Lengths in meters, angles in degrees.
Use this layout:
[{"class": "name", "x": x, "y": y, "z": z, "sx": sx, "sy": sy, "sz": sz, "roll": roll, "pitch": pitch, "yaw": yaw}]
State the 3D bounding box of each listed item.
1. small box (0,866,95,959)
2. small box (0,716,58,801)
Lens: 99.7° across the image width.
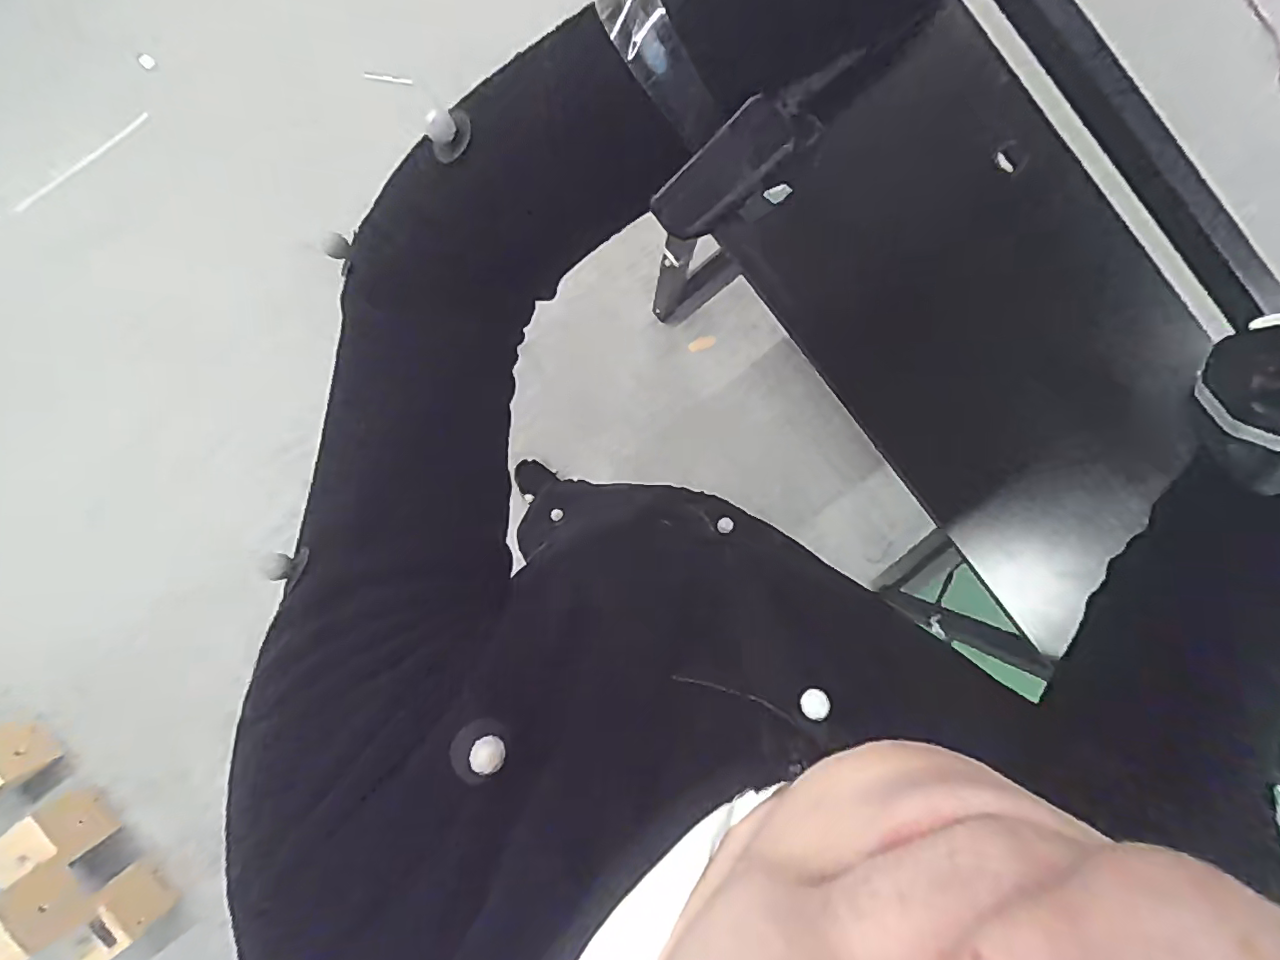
[{"class": "small box", "x": -1.516, "y": 1.092, "z": 1.315, "sx": 0.168, "sy": 0.176, "sz": 0.179, "roll": -36, "pitch": 92, "yaw": -2}, {"class": "small box", "x": -1.766, "y": 0.782, "z": 1.472, "sx": 0.179, "sy": 0.176, "sz": 0.168, "roll": -37, "pitch": 92, "yaw": -2}]
